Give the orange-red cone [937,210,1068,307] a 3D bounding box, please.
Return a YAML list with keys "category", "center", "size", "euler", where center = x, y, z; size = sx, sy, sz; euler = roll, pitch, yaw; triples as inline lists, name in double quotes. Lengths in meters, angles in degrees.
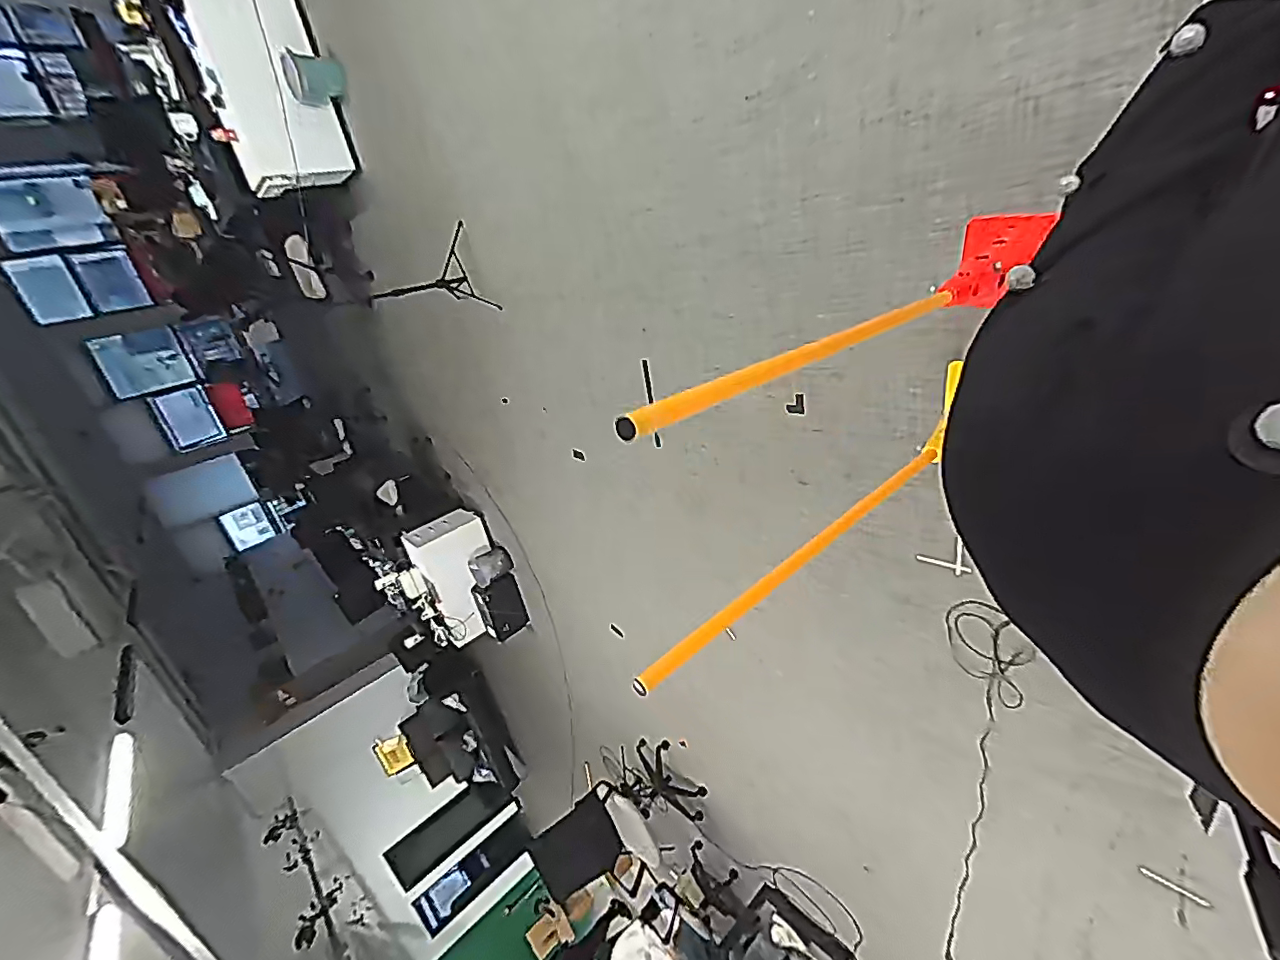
- category: "orange-red cone"
  center: [0.698, -0.428, 1.112]
  size: [0.198, 0.360, 0.199]
  euler: [23, 129, 41]
